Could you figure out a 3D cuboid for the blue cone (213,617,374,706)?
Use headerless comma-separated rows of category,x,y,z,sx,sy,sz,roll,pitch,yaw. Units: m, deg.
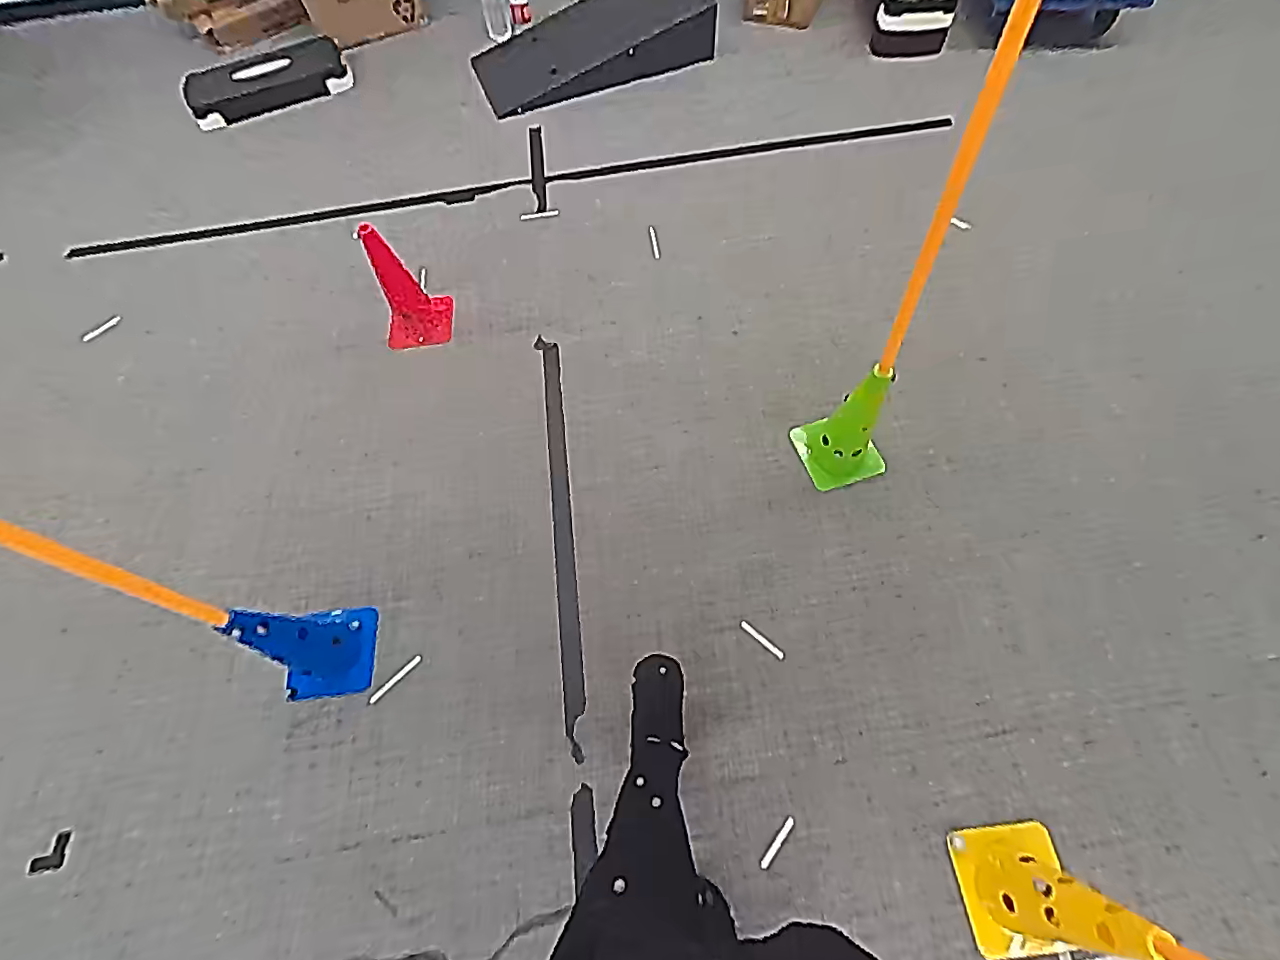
blue cone,-0.738,0.355,1.138,0.193,0.380,0.192,-6,64,1

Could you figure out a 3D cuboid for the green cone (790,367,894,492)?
green cone,0.519,-0.150,1.302,0.200,0.368,0.202,-18,65,-5
